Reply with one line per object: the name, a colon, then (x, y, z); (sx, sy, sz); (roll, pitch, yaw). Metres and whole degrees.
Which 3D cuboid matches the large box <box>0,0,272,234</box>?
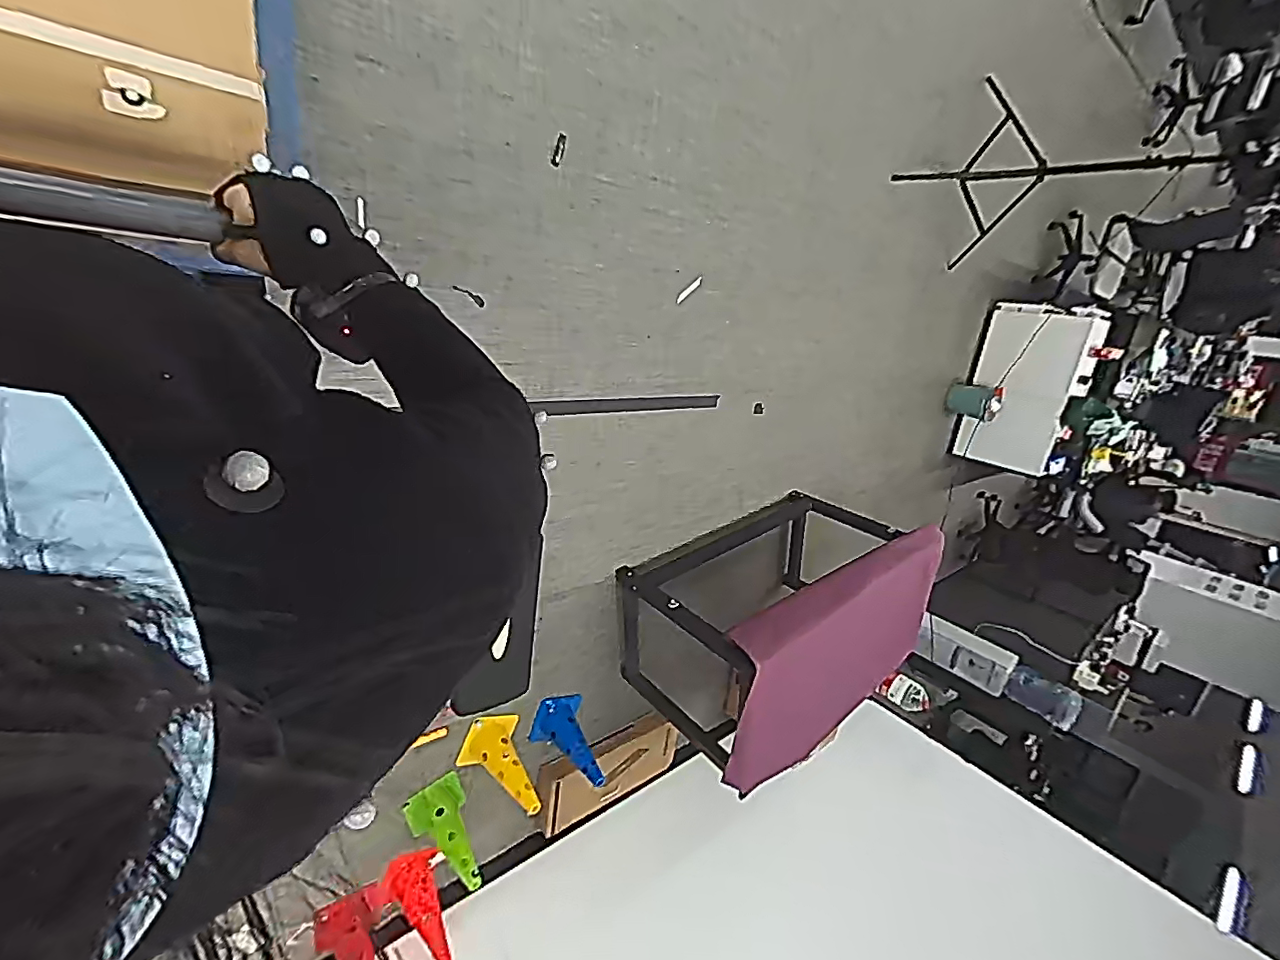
large box: (-0.766, -0.532, 0.721); (0.408, 0.320, 0.320); (-7, 112, -40)
